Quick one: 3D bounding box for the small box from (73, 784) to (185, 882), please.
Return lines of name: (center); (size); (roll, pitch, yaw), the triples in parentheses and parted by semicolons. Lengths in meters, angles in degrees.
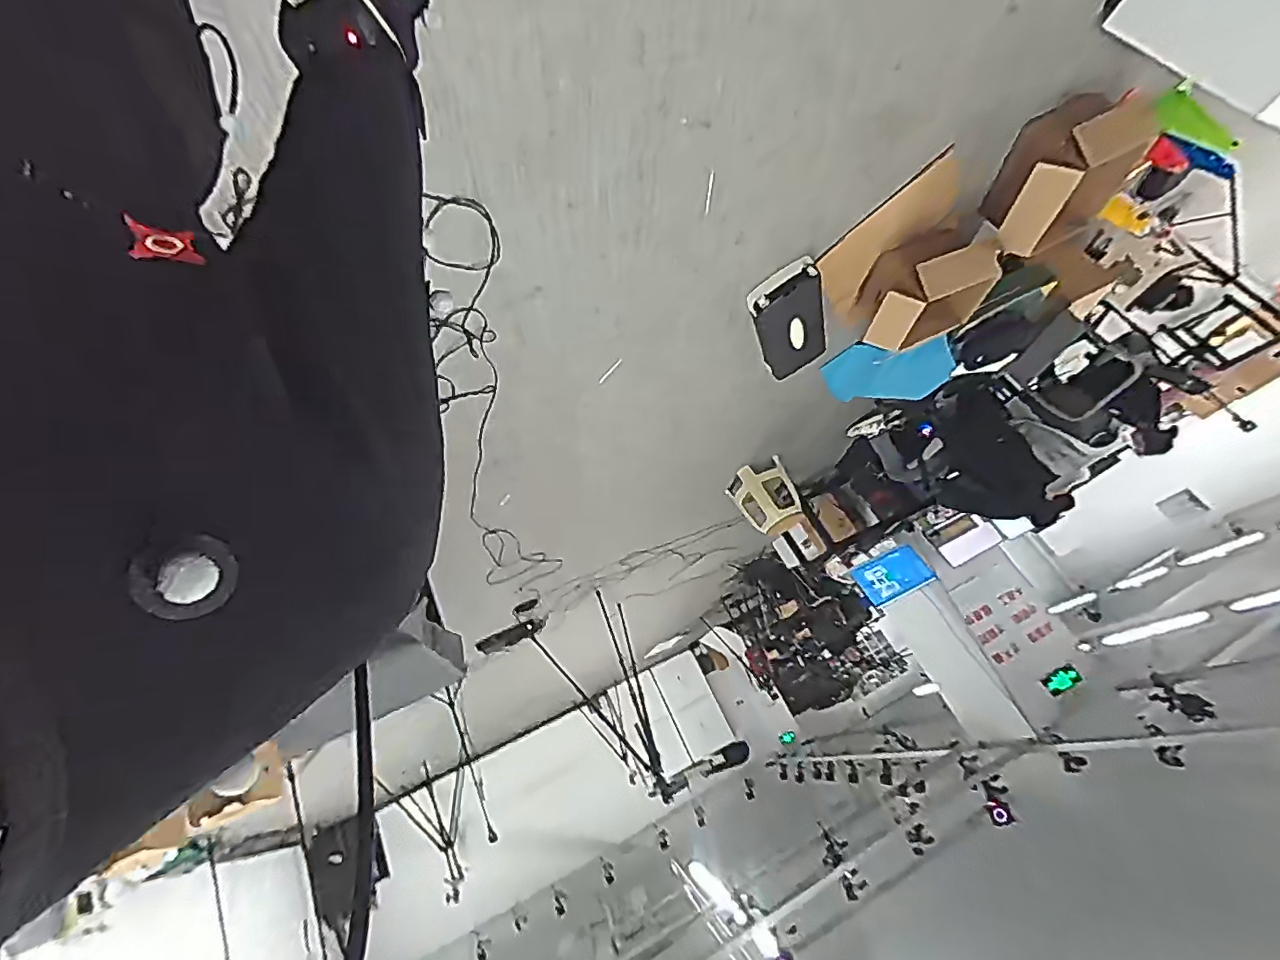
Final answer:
small box: (-1.440, 0.984, 1.526); (0.168, 0.176, 0.179); (-21, 157, -14)
